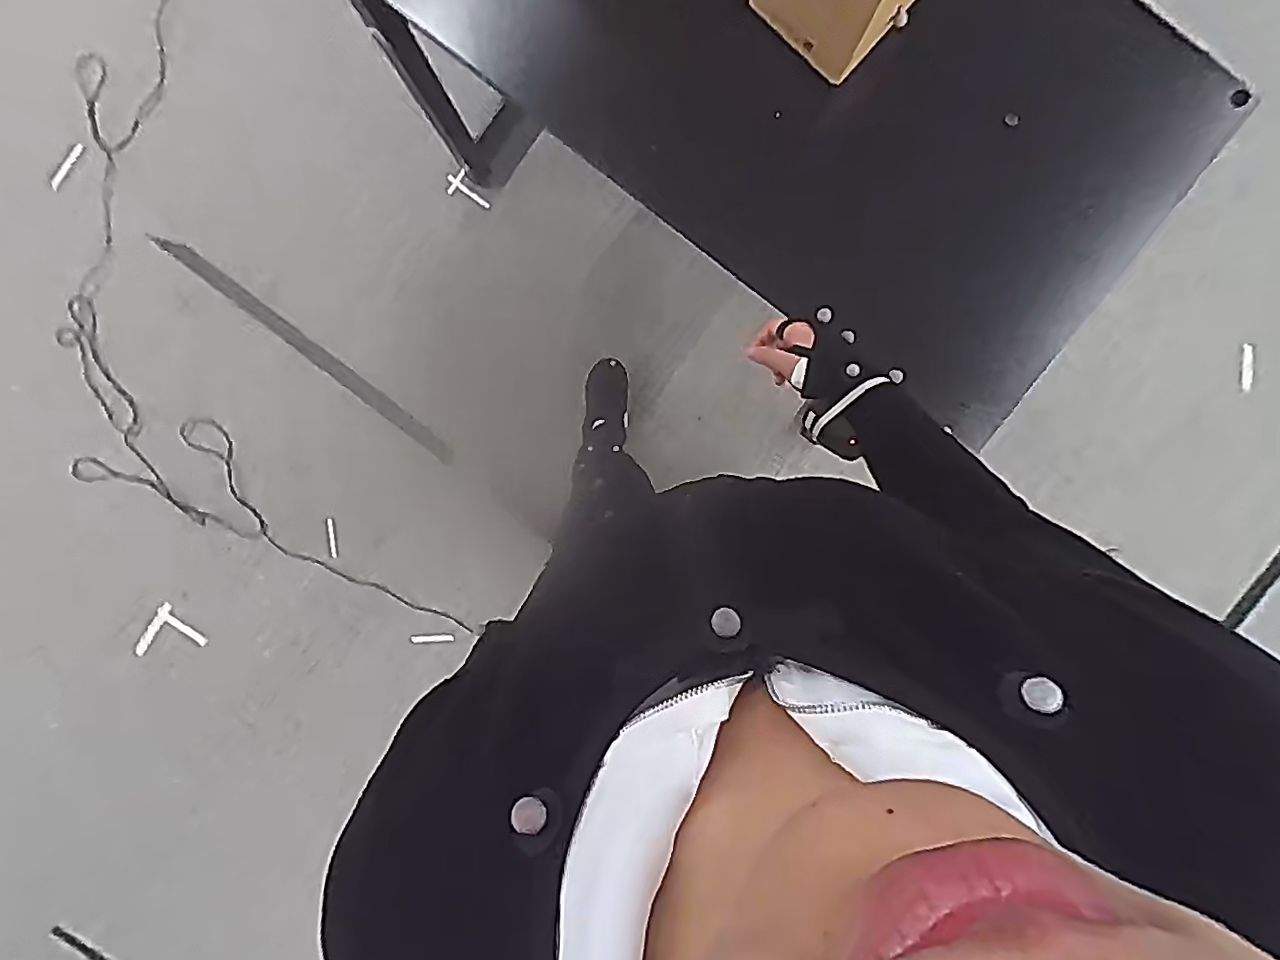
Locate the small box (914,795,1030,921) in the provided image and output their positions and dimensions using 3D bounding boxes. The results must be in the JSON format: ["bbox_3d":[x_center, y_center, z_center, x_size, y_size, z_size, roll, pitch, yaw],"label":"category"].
[{"bbox_3d":[0.870,0.997,1.442,0.168,0.176,0.179,36,93,-1],"label":"small box"}]
